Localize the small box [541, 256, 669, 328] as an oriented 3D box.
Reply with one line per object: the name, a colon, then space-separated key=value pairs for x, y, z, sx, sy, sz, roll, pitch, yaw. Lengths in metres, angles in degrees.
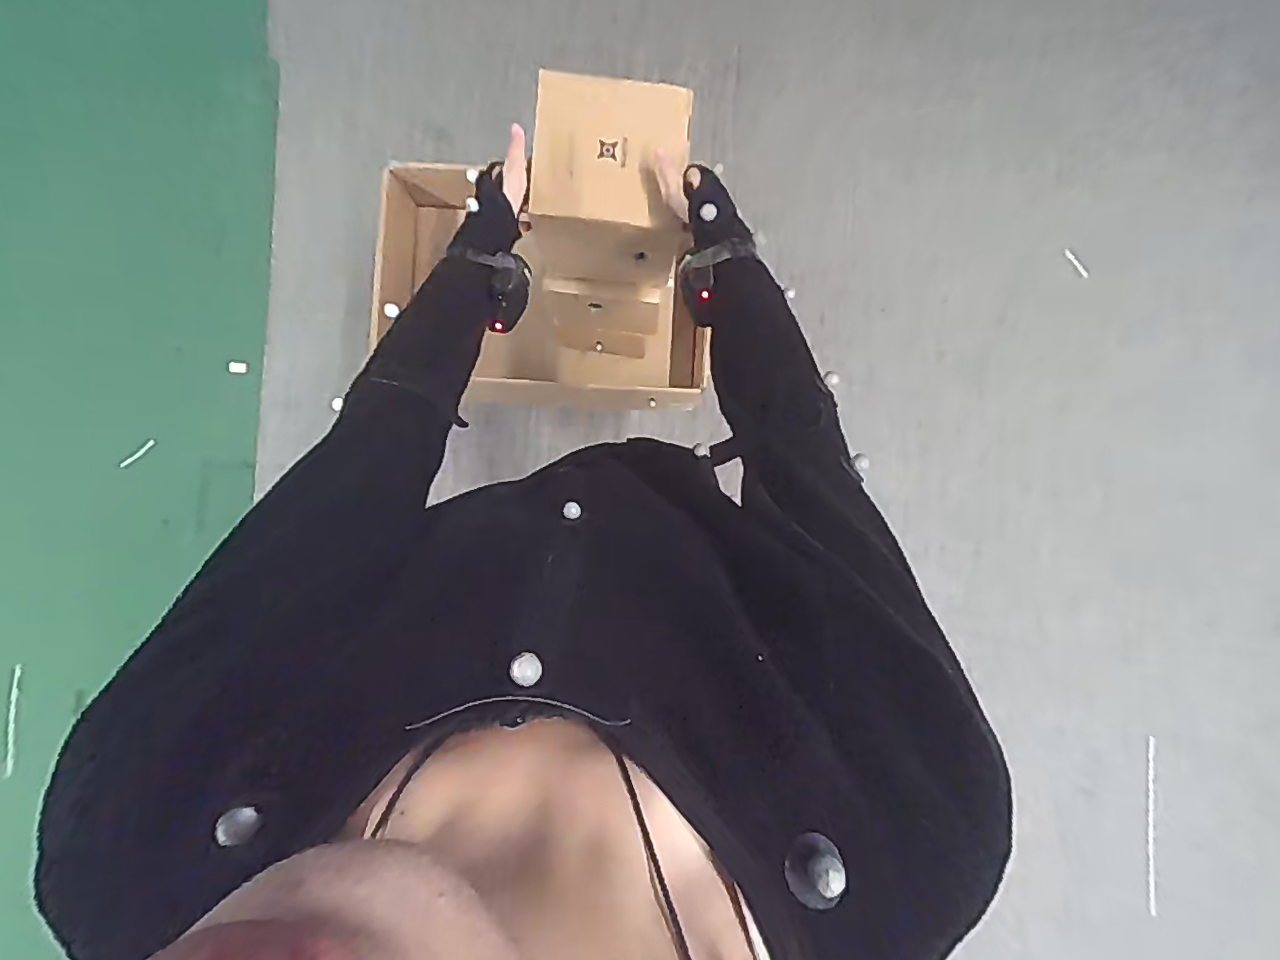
small box: x=-0.045 y=-0.350 z=0.853 sx=0.179 sy=0.176 sz=0.168 roll=7 pitch=89 yaw=0

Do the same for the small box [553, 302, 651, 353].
small box: x=-0.056 y=-0.350 z=1.017 sx=0.168 sy=0.176 sz=0.179 roll=9 pitch=89 yaw=1

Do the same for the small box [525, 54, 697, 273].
small box: x=-0.035 y=-0.372 z=0.669 sx=0.179 sy=0.176 sz=0.168 roll=5 pitch=89 yaw=-2
